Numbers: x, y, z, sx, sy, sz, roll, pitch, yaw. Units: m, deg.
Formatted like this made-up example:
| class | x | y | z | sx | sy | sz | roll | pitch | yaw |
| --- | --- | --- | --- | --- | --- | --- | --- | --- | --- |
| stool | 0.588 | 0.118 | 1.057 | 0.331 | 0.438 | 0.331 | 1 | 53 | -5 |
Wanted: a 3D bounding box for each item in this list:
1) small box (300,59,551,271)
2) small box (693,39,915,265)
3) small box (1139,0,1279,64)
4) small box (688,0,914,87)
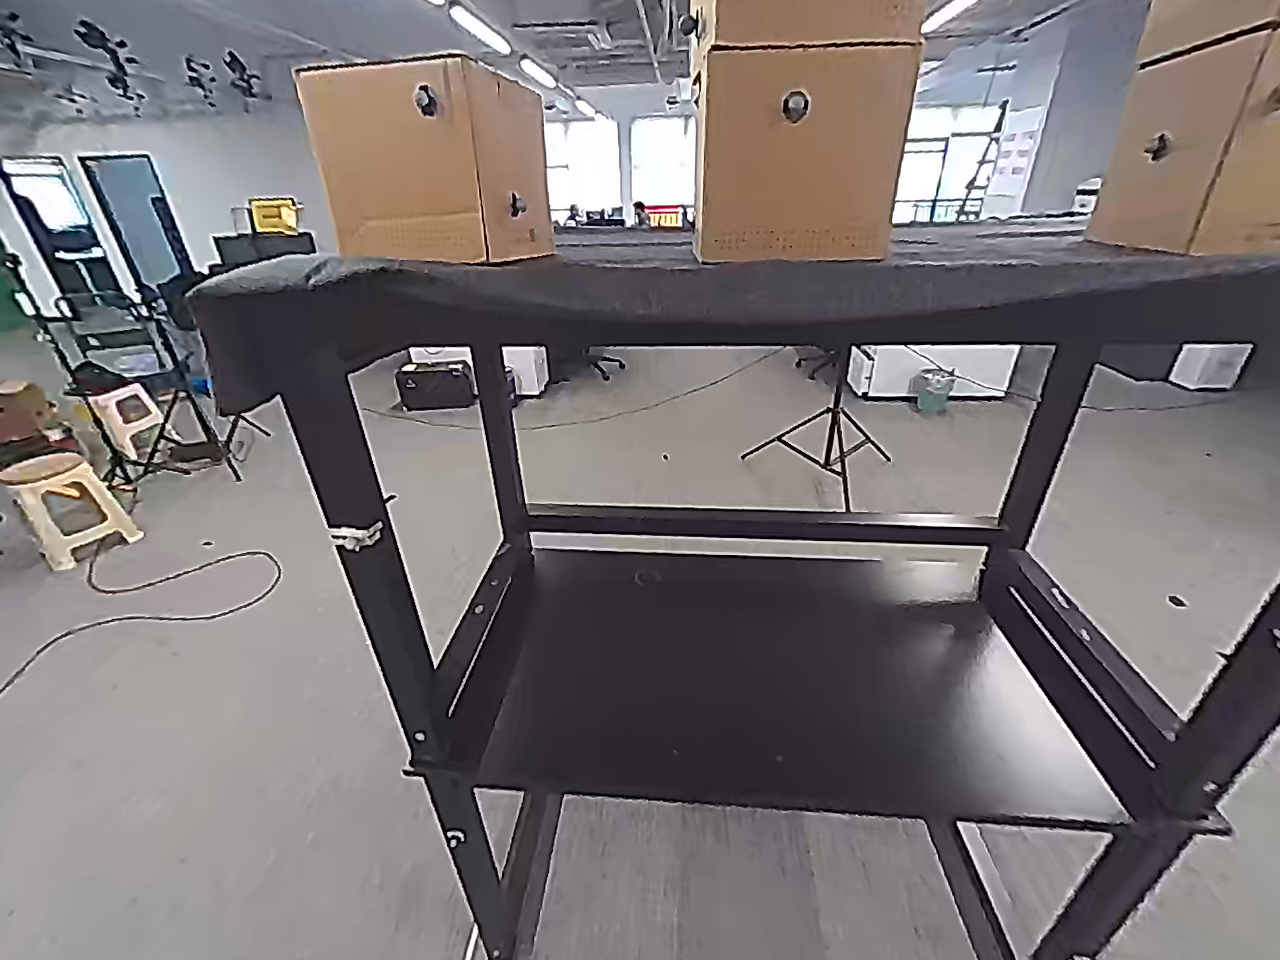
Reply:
| class | x | y | z | sx | sy | sz | roll | pitch | yaw |
| --- | --- | --- | --- | --- | --- | --- | --- | --- | --- |
| small box | -0.209 | -0.317 | 0.578 | 0.179 | 0.176 | 0.168 | 5 | 26 | 13 |
| small box | 0.144 | -0.314 | 0.547 | 0.179 | 0.176 | 0.168 | 0 | 27 | 2 |
| small box | 0.568 | -0.459 | 0.436 | 0.168 | 0.176 | 0.179 | 1 | 28 | 10 |
| small box | 0.138 | -0.463 | 0.482 | 0.179 | 0.176 | 0.168 | -4 | 26 | -2 |
